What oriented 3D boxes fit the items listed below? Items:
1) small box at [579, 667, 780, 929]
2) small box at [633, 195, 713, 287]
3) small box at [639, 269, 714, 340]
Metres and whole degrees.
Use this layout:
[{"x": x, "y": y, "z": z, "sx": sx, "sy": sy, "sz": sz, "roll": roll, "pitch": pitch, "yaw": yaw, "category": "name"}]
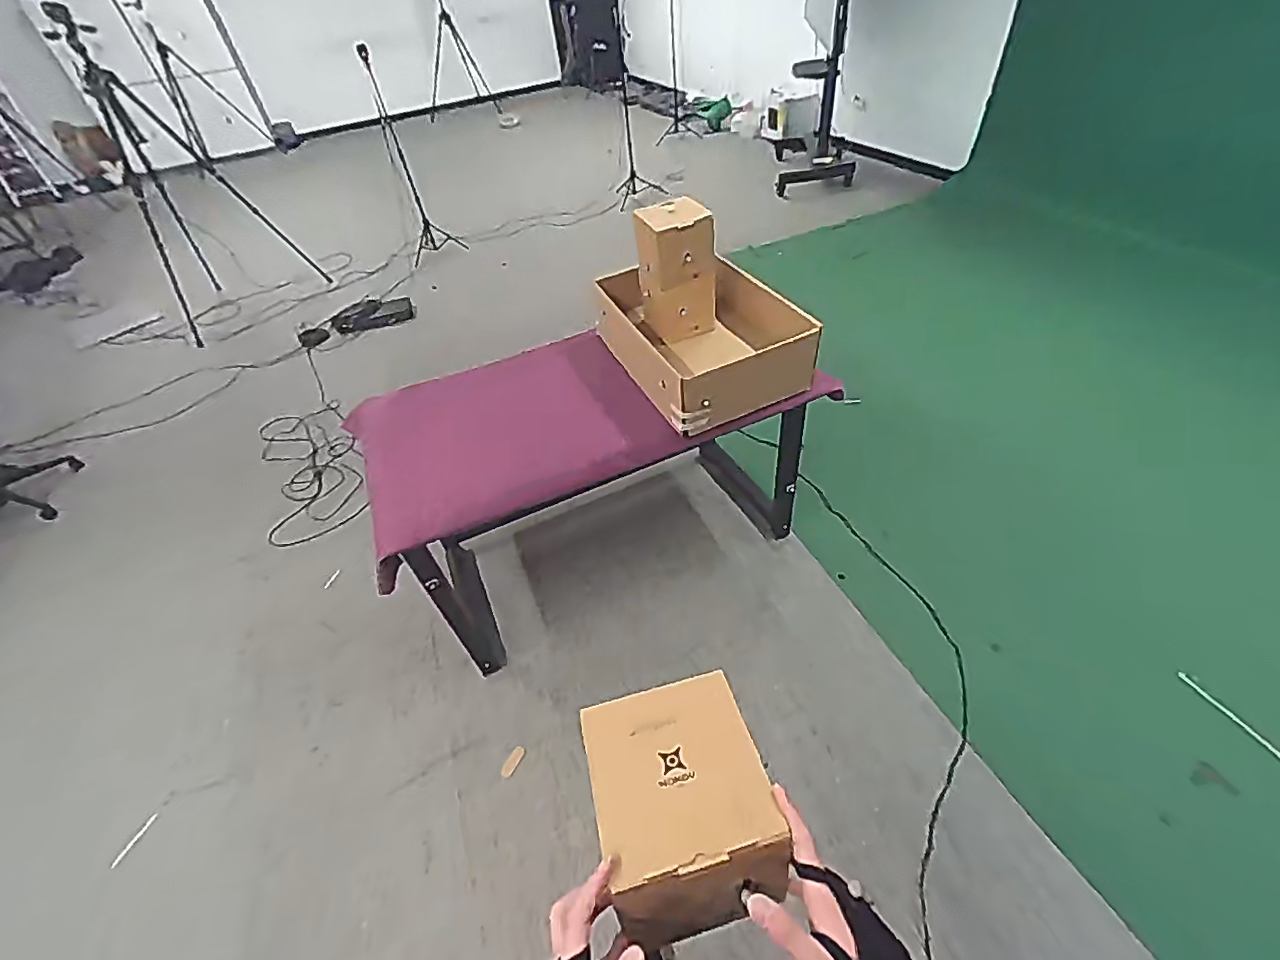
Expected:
[{"x": 0.038, "y": 0.339, "z": 0.576, "sx": 0.168, "sy": 0.176, "sz": 0.179, "roll": -13, "pitch": 35, "yaw": -7, "category": "small box"}, {"x": 0.094, "y": -0.650, "z": 1.485, "sx": 0.168, "sy": 0.176, "sz": 0.179, "roll": -20, "pitch": 48, "yaw": -10, "category": "small box"}, {"x": 0.112, "y": -0.536, "z": 1.602, "sx": 0.168, "sy": 0.176, "sz": 0.179, "roll": -21, "pitch": 47, "yaw": -10, "category": "small box"}]
